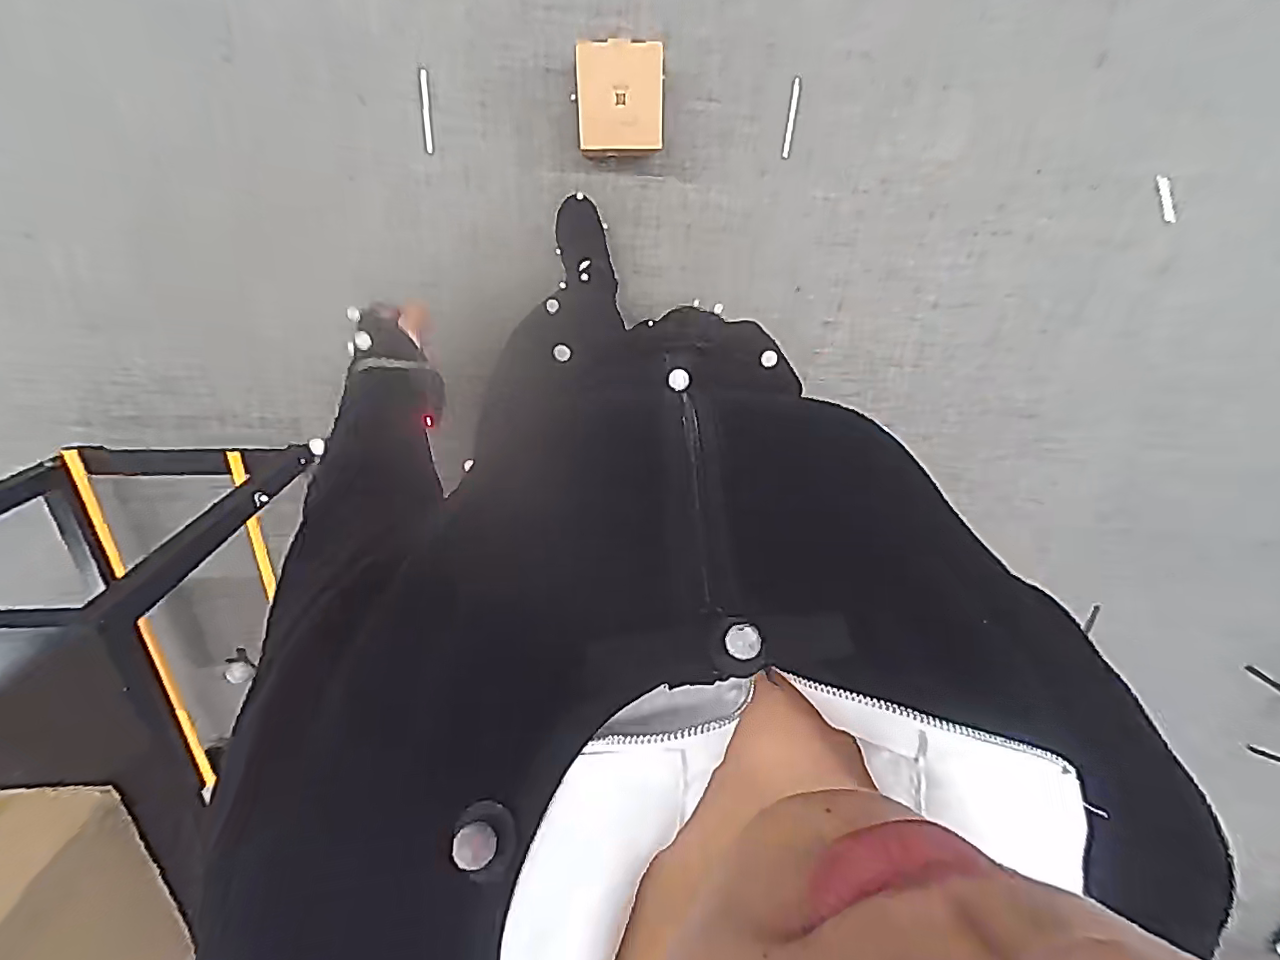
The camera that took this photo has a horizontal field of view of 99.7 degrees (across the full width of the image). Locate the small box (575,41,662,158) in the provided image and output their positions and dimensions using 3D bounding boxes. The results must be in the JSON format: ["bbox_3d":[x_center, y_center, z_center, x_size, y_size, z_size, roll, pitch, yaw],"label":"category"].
[{"bbox_3d":[-0.047,-0.769,1.108,0.168,0.176,0.179,-3,117,-4],"label":"small box"}]
